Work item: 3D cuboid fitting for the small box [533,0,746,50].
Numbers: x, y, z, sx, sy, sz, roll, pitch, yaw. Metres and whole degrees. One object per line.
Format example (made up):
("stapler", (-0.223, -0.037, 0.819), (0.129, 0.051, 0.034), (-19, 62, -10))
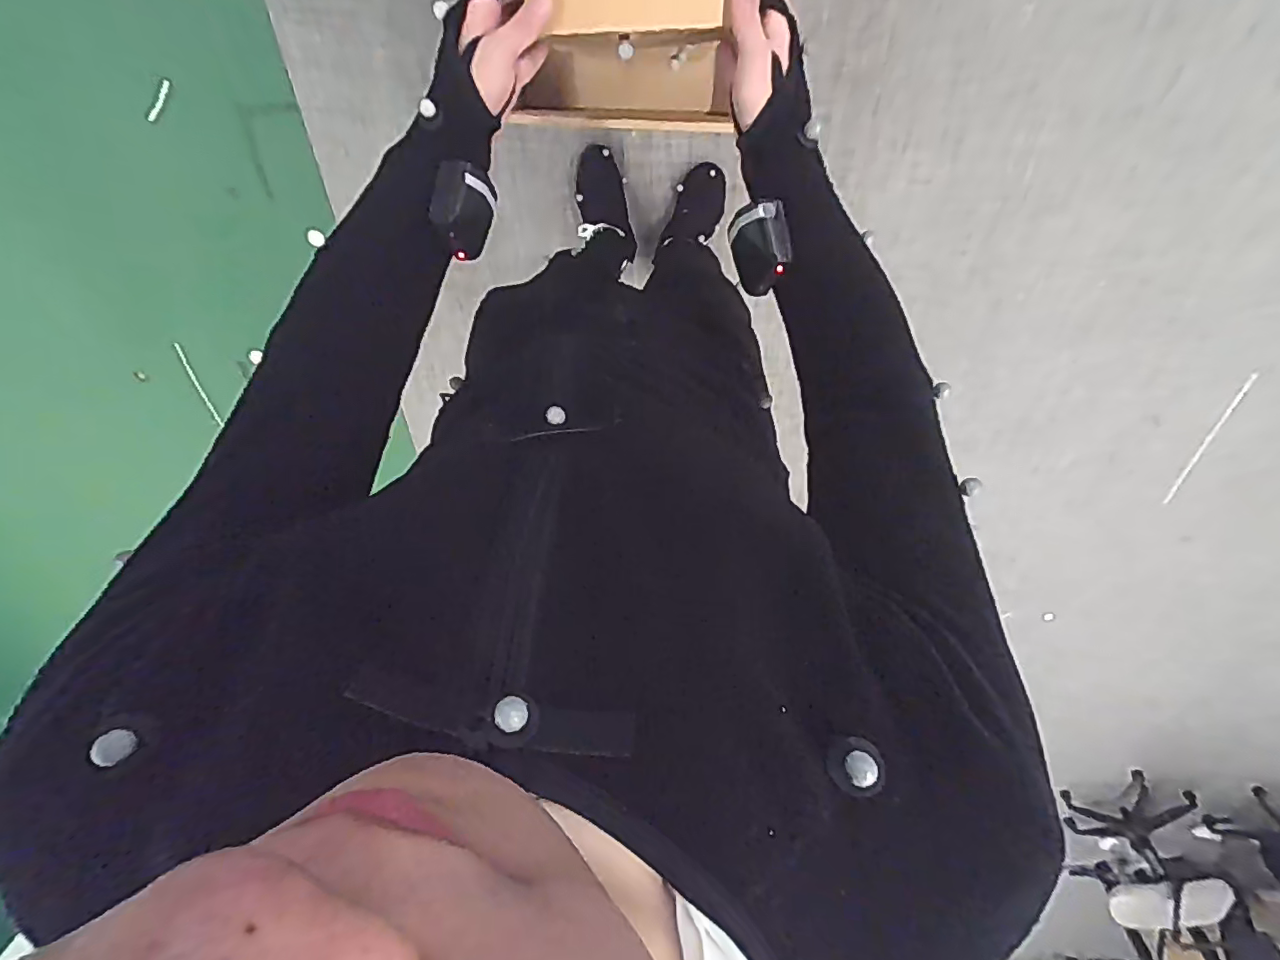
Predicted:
("small box", (0.000, -0.483, 0.467), (0.179, 0.176, 0.168), (1, 126, 2))

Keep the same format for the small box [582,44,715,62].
("small box", (0.014, -0.674, 0.729), (0.179, 0.176, 0.168), (2, 125, 2))
